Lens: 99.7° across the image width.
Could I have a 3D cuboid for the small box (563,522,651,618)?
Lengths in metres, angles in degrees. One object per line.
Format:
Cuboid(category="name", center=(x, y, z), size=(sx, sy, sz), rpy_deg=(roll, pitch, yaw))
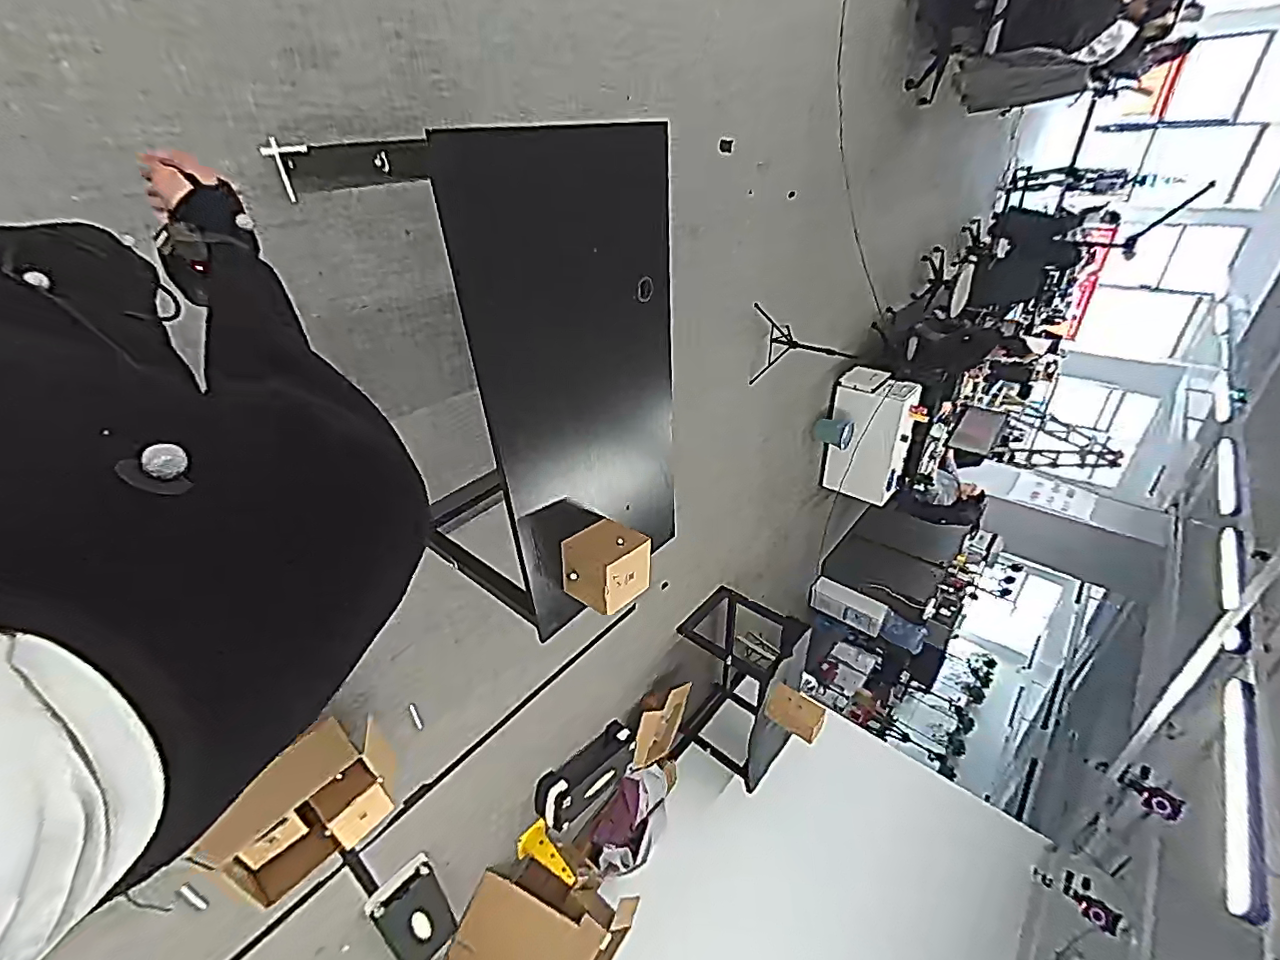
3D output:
Cuboid(category="small box", center=(-0.090, 0.235, 1.470), size=(0.179, 0.176, 0.168), rpy_deg=(-27, 128, -43))
